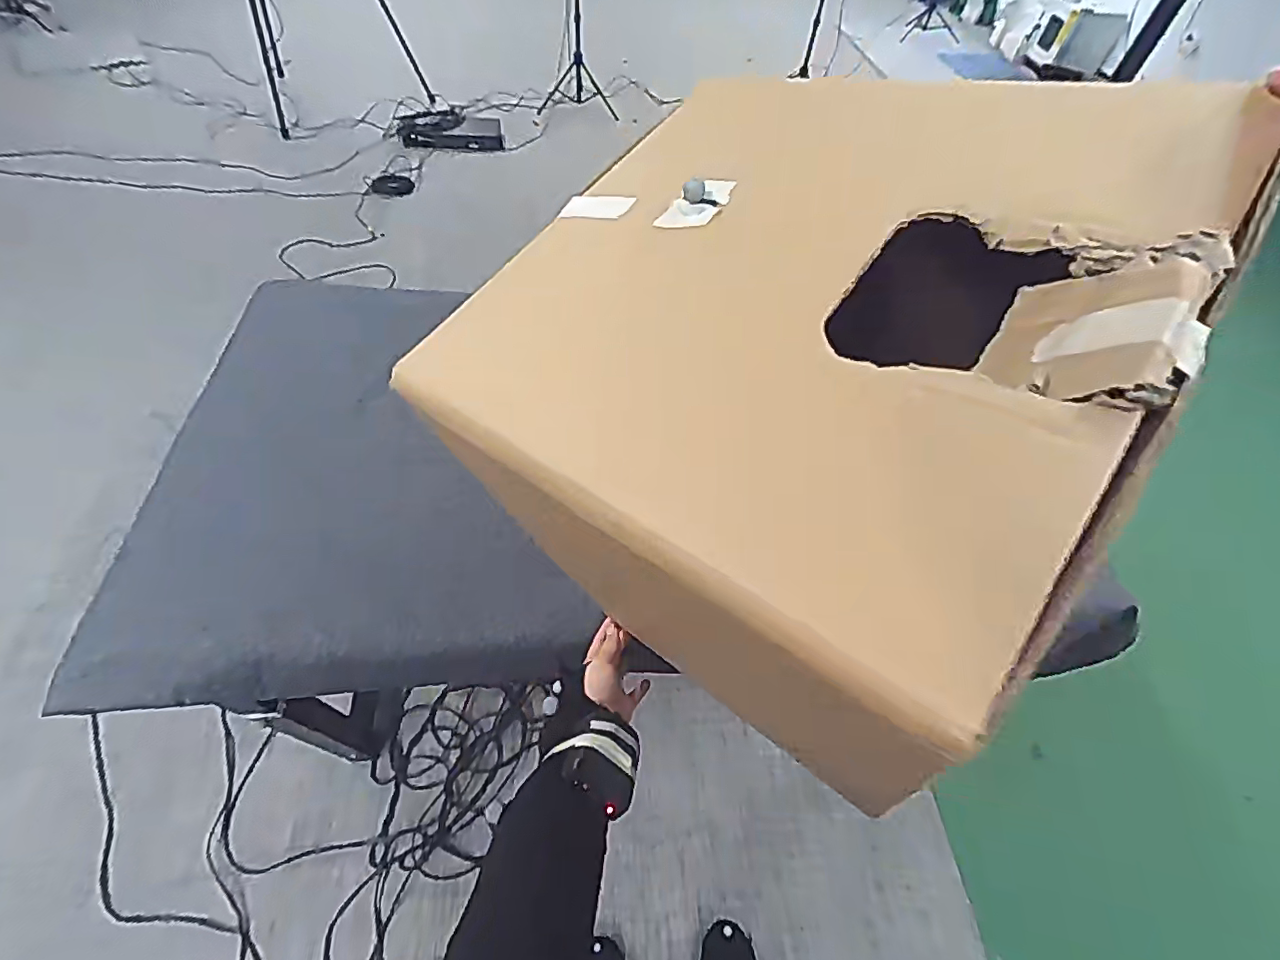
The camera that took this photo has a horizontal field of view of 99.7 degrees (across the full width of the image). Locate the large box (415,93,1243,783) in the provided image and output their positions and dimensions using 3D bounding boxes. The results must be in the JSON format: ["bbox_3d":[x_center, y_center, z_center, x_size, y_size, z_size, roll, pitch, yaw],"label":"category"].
[{"bbox_3d":[0.119,-0.008,0.433,0.320,0.408,0.320,30,71,31],"label":"large box"}]
